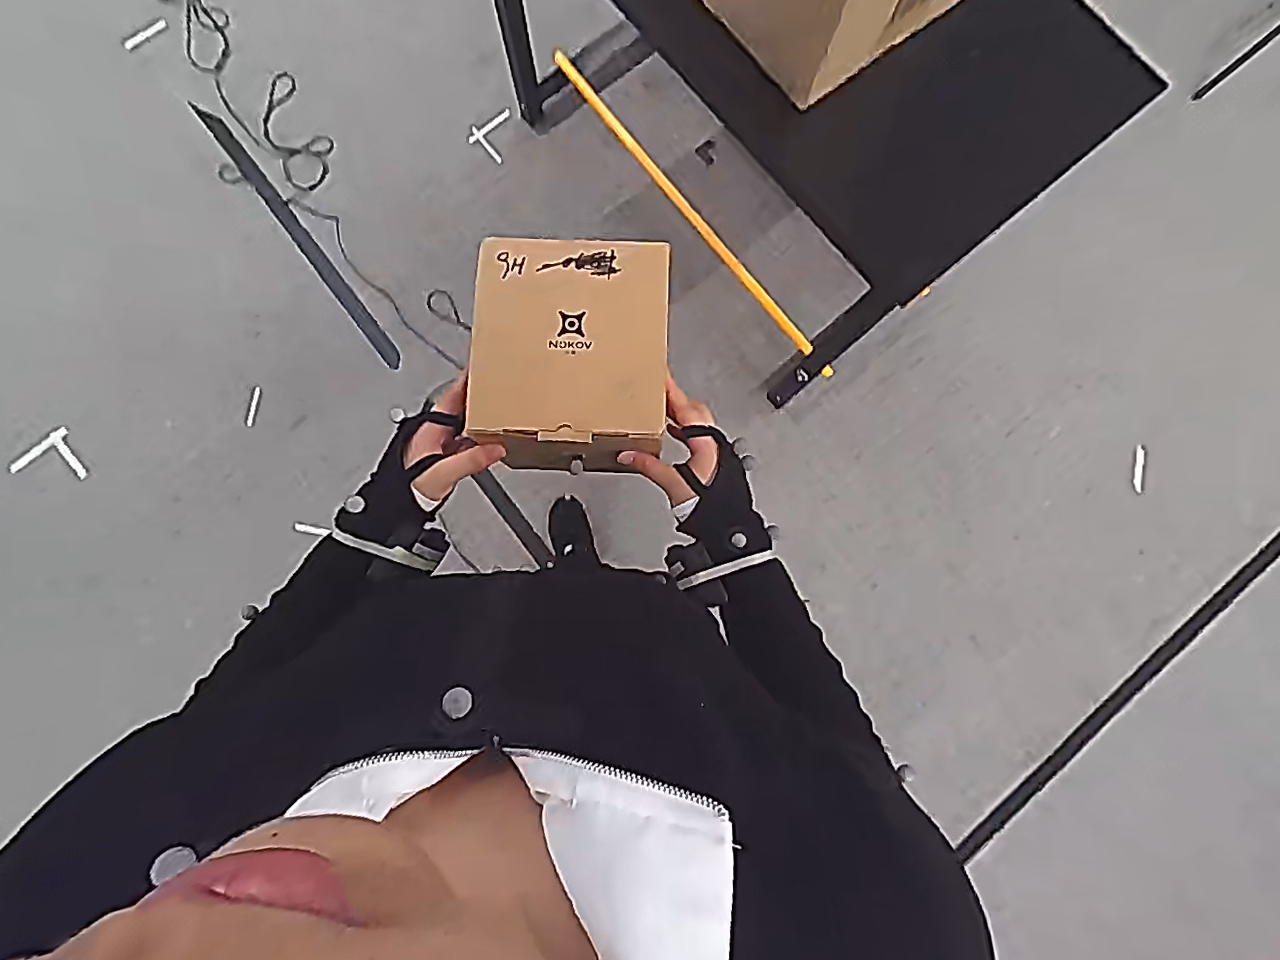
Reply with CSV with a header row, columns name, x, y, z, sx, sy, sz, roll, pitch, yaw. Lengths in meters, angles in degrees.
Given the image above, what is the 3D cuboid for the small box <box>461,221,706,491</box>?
name,x,y,z,sx,sy,sz,roll,pitch,yaw
small box,-0.037,-0.085,0.449,0.168,0.176,0.179,1,82,-1
